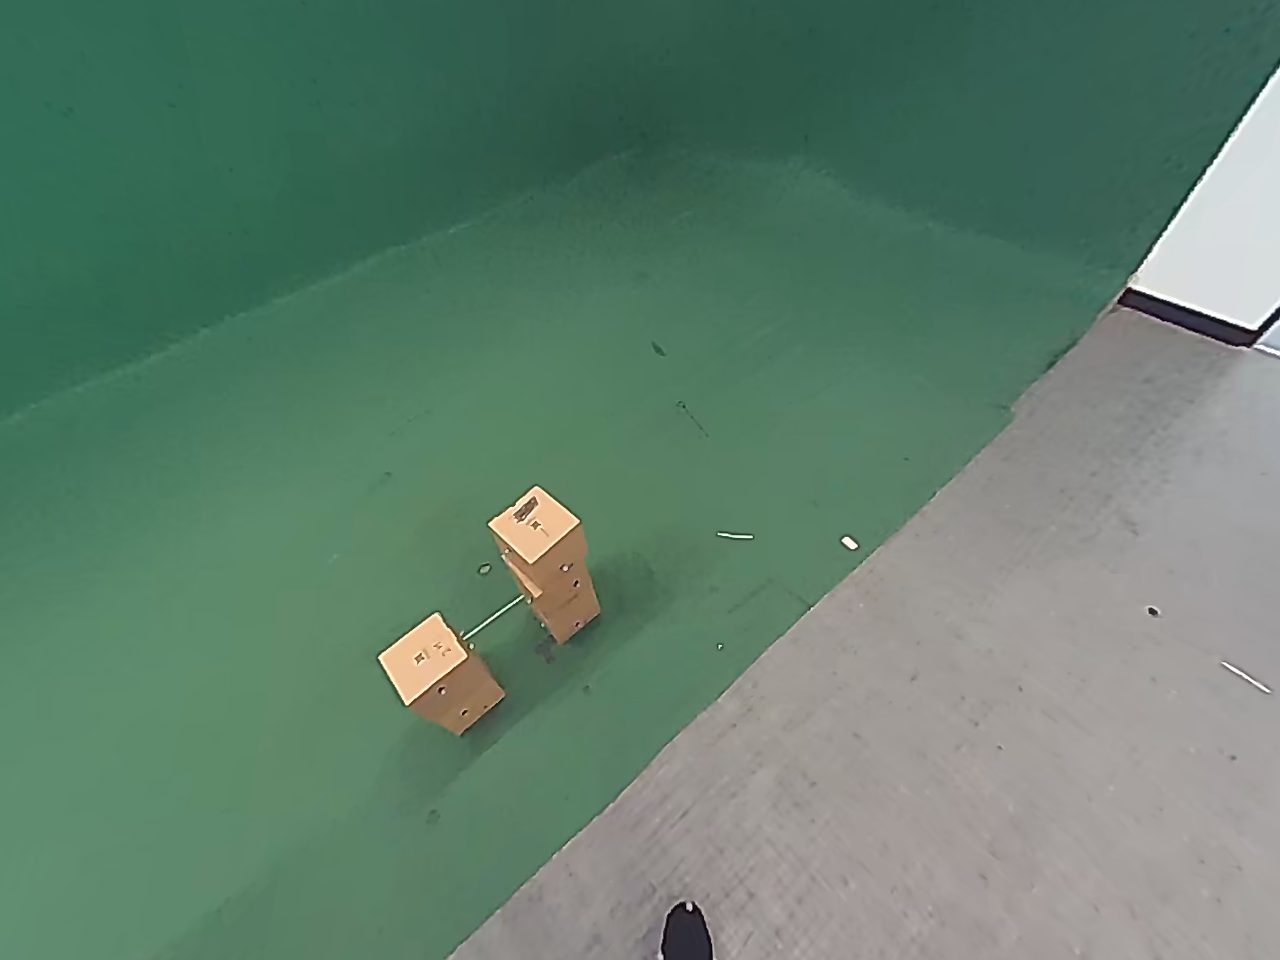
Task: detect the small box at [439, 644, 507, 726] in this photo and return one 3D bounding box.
[{"bbox_3d":[-0.507,0.574,1.541,0.168,0.176,0.179,-38,57,-20],"label":"small box"}]

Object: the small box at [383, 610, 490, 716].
[{"bbox_3d":[-0.523,0.479,1.407,0.179,0.176,0.168,-38,58,-20],"label":"small box"}]

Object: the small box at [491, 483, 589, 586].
[{"bbox_3d":[-0.256,0.147,1.420,0.179,0.176,0.168,36,64,26],"label":"small box"}]

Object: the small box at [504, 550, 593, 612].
[{"bbox_3d":[-0.254,0.252,1.545,0.168,0.176,0.179,-36,58,-21],"label":"small box"}]
